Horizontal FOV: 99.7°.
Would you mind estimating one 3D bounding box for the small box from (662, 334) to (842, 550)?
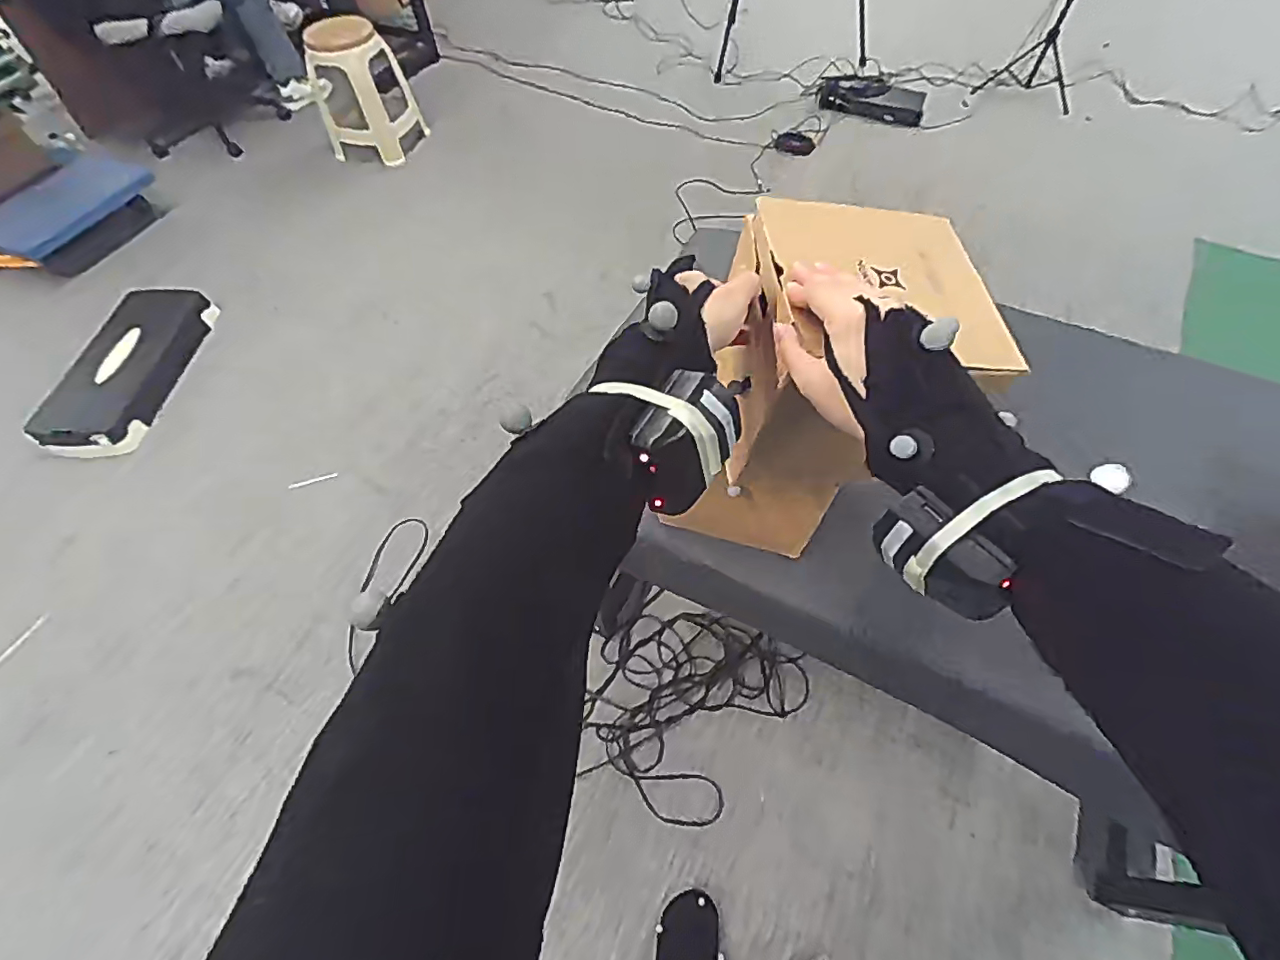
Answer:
[{"bbox_3d":[0.131,-0.037,0.627,0.179,0.176,0.168,15,59,10],"label":"small box"}]

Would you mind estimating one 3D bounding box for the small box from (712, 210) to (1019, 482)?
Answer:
[{"bbox_3d":[0.166,-0.106,0.472,0.179,0.176,0.168,-1,62,-7],"label":"small box"}]
